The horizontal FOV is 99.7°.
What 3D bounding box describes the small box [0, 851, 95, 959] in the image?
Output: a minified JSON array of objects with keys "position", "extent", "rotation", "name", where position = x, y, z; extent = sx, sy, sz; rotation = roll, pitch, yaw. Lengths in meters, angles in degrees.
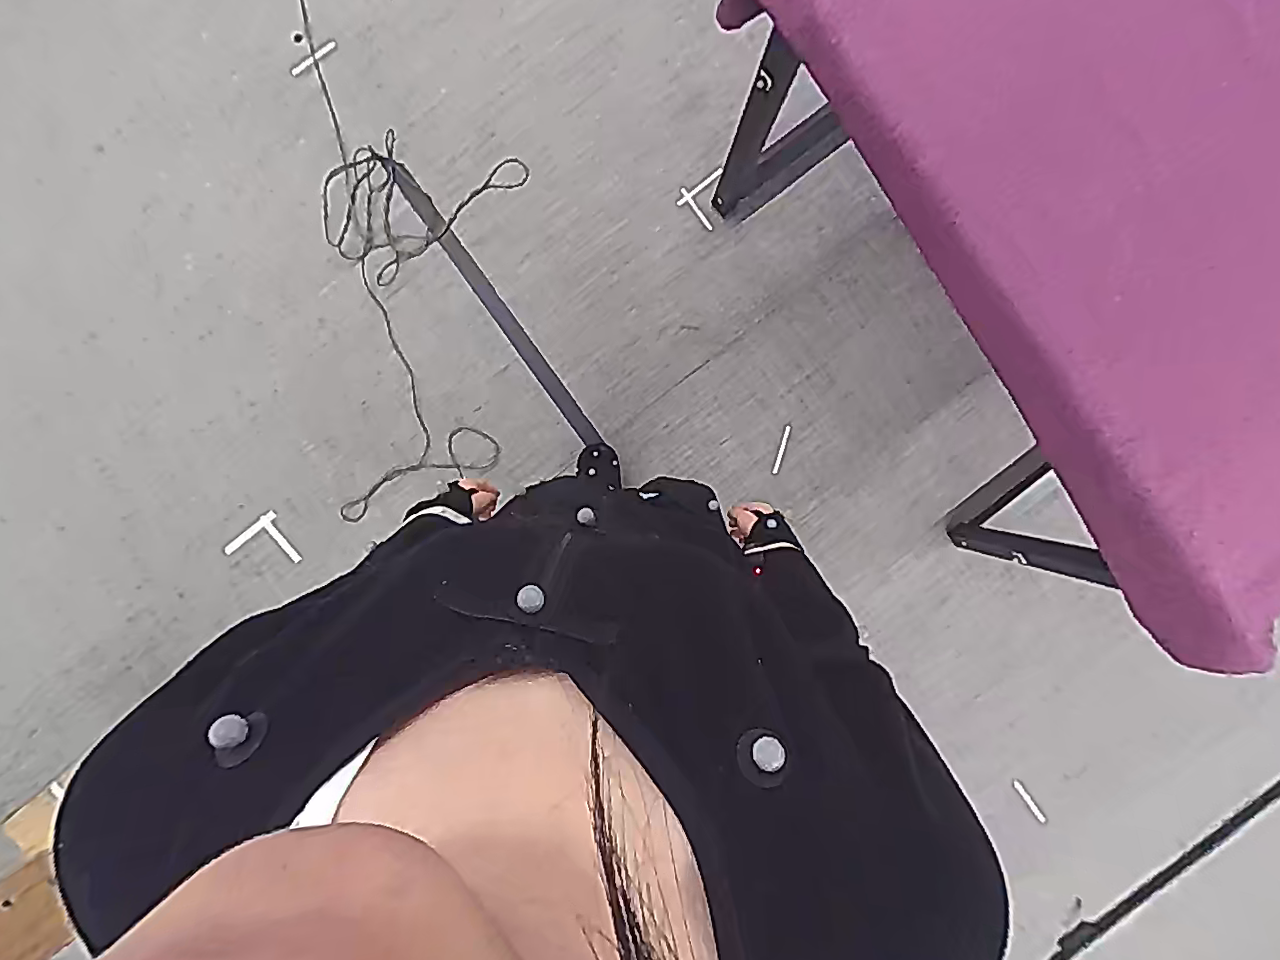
[{"position":[-1.152,0.824,0.968],"extent":[0.179,0.176,0.168],"rotation":[-41,92,1],"name":"small box"}]
